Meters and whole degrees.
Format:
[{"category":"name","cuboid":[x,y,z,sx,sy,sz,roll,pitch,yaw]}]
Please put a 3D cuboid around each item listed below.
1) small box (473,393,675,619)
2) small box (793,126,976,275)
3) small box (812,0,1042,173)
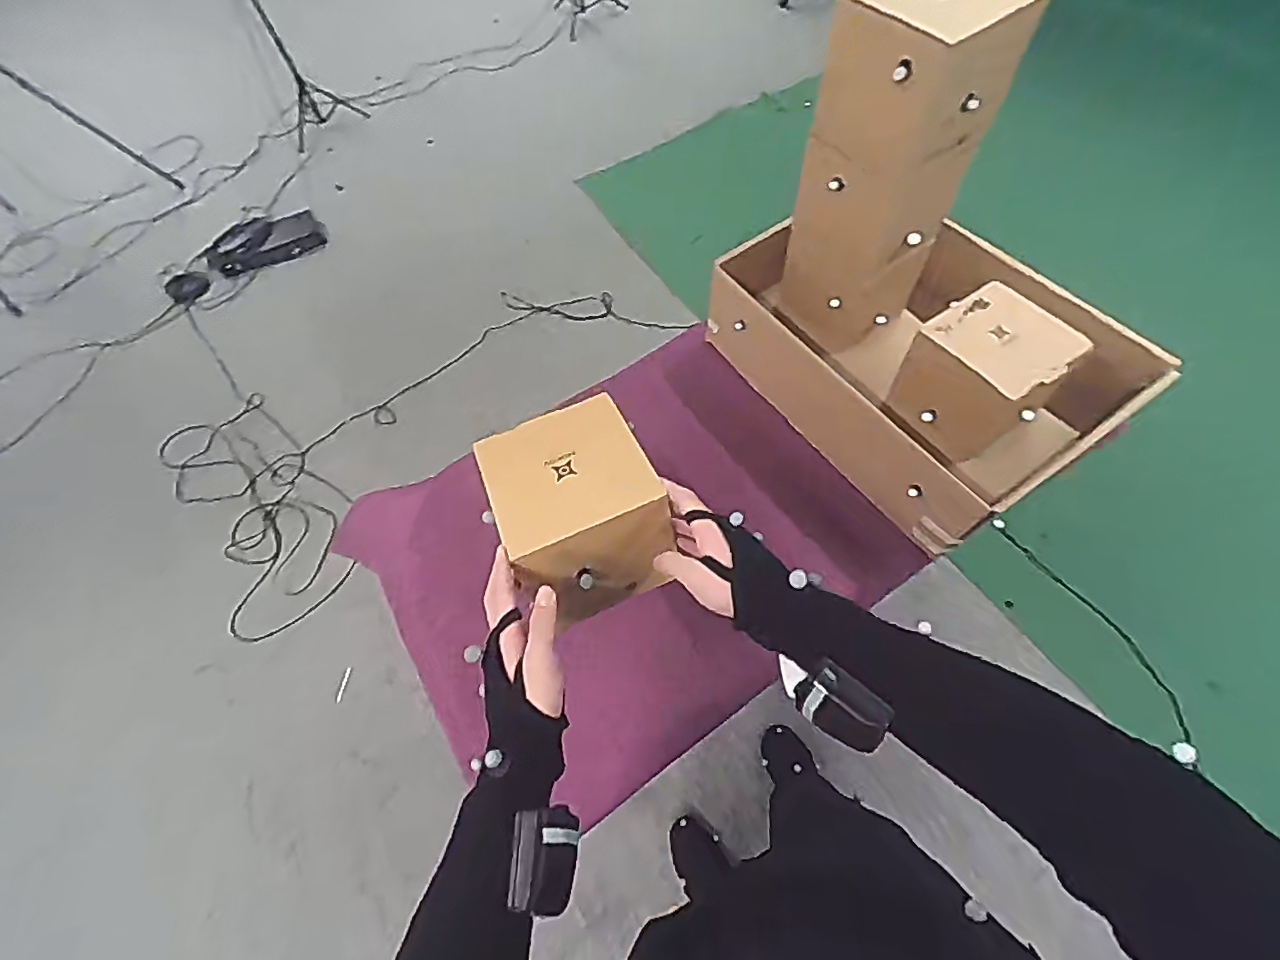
[{"category":"small box","cuboid":[-0.070,0.037,0.623,0.168,0.176,0.179,-23,51,-8]},{"category":"small box","cuboid":[0.366,-0.462,0.849,0.168,0.176,0.179,-34,66,-11]},{"category":"small box","cuboid":[0.354,-0.535,0.701,0.168,0.176,0.179,-33,65,-11]}]
